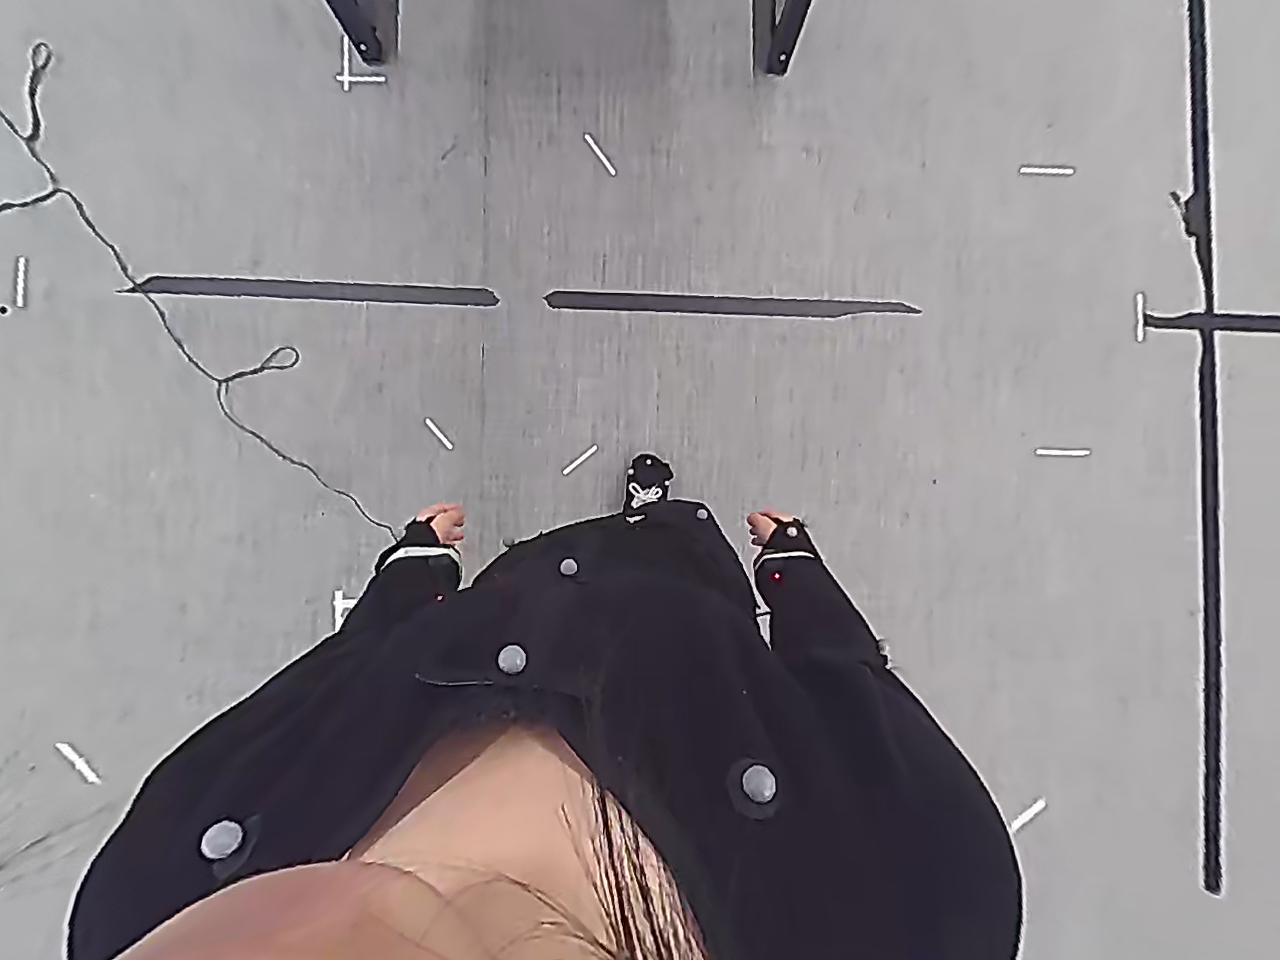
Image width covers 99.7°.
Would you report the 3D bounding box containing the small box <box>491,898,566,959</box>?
[{"bbox_3d":[-0.285,1.221,1.396,0.168,0.176,0.179,-1,89,-1],"label":"small box"}]
